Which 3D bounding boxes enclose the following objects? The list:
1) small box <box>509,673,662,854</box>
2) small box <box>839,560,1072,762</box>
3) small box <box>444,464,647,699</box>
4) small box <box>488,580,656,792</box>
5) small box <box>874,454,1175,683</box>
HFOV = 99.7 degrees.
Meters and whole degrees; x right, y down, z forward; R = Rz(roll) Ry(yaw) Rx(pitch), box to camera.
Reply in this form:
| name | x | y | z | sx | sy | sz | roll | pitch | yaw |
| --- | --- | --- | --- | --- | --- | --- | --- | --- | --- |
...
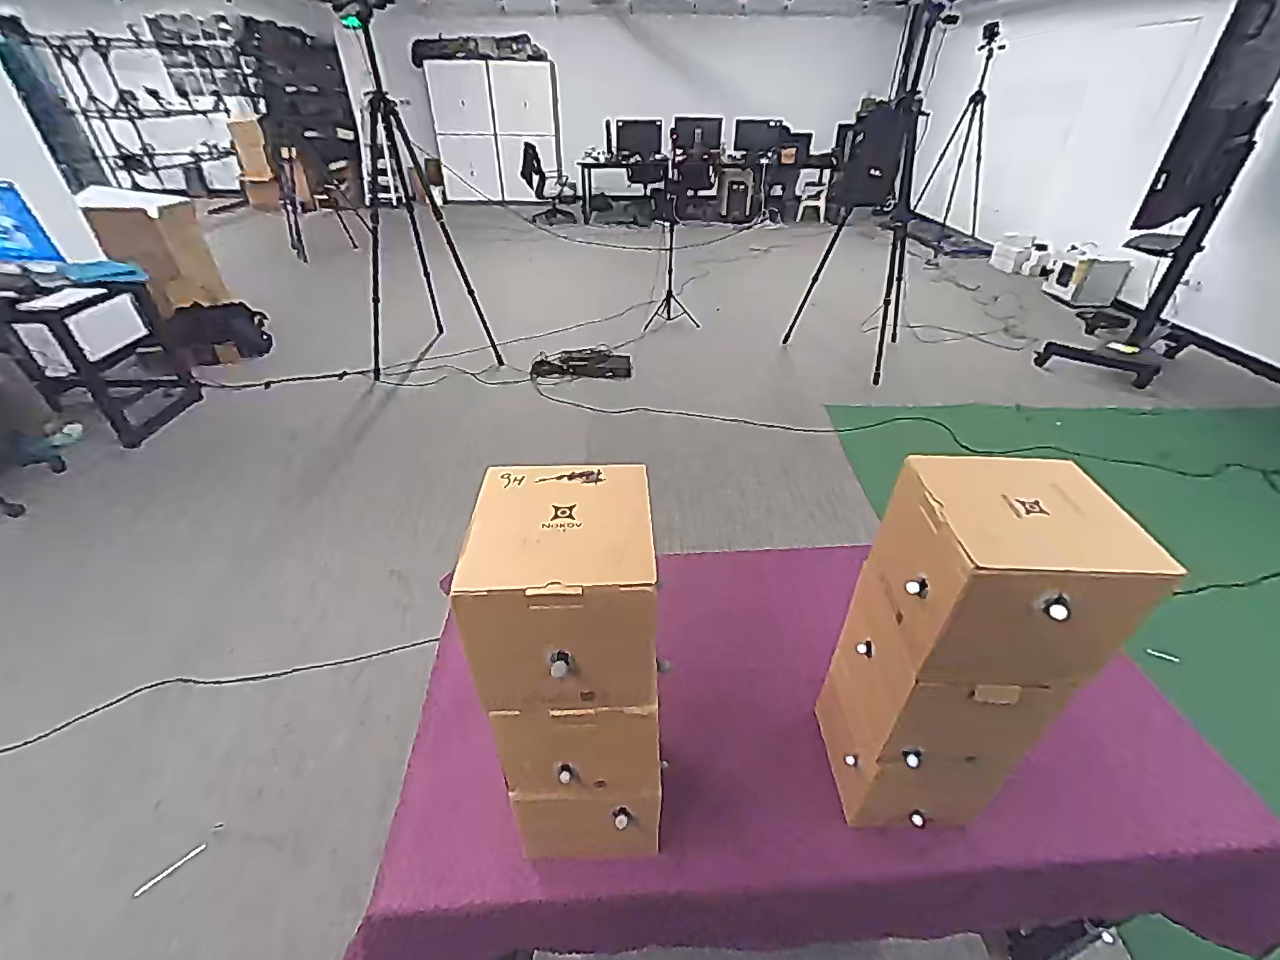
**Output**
| name | x | y | z | sx | sy | sz | roll | pitch | yaw |
| --- | --- | --- | --- | --- | --- | --- | --- | --- | --- |
| small box | -0.063 | 0.375 | 0.724 | 0.179 | 0.176 | 0.168 | -1 | 35 | 0 |
| small box | 0.357 | 0.217 | 0.655 | 0.168 | 0.176 | 0.179 | 1 | 35 | 2 |
| small box | -0.077 | 0.102 | 0.543 | 0.168 | 0.176 | 0.179 | -1 | 37 | -2 |
| small box | -0.068 | 0.237 | 0.637 | 0.168 | 0.176 | 0.179 | 0 | 36 | 0 |
| small box | 0.357 | 0.089 | 0.554 | 0.179 | 0.176 | 0.168 | 2 | 37 | 3 |
